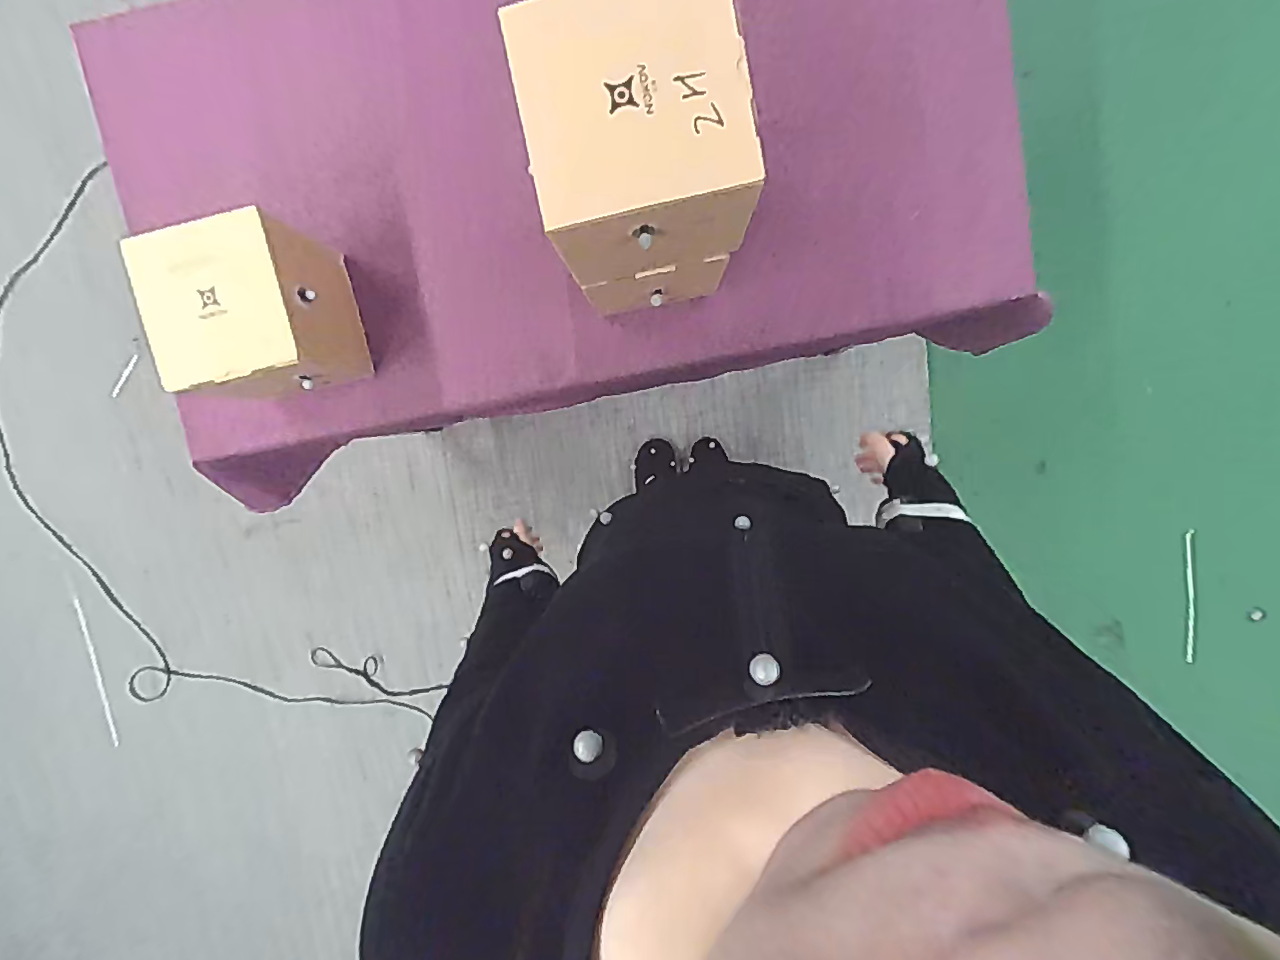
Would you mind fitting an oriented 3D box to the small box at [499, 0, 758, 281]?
[{"bbox_3d":[-0.004,-0.295,0.488,0.179,0.176,0.168,-11,96,3],"label":"small box"}]

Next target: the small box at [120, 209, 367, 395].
[{"bbox_3d":[-0.477,-0.207,0.683,0.168,0.176,0.179,-12,95,2],"label":"small box"}]

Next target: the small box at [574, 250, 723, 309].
[{"bbox_3d":[0.000,-0.314,0.653,0.168,0.176,0.179,-10,96,3],"label":"small box"}]
